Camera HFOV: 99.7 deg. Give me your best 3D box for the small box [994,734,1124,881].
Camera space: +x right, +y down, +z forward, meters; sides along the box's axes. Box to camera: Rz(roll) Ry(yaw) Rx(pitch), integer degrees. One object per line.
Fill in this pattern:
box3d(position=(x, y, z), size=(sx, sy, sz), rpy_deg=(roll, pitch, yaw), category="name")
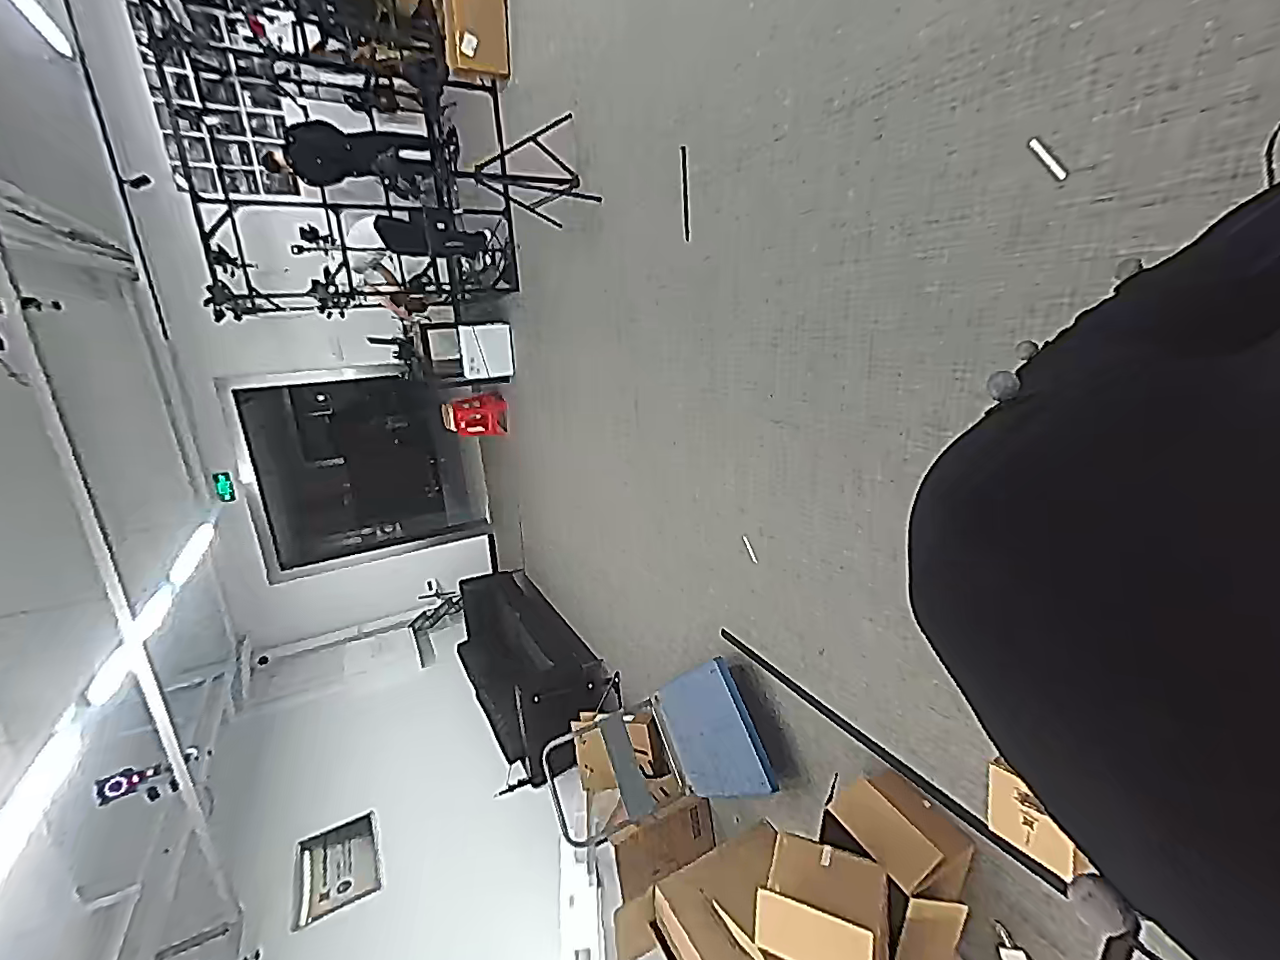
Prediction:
box3d(position=(0.889, 0.681, 1.150), size=(0.168, 0.176, 0.179), rpy_deg=(16, 115, 61), category="small box")
